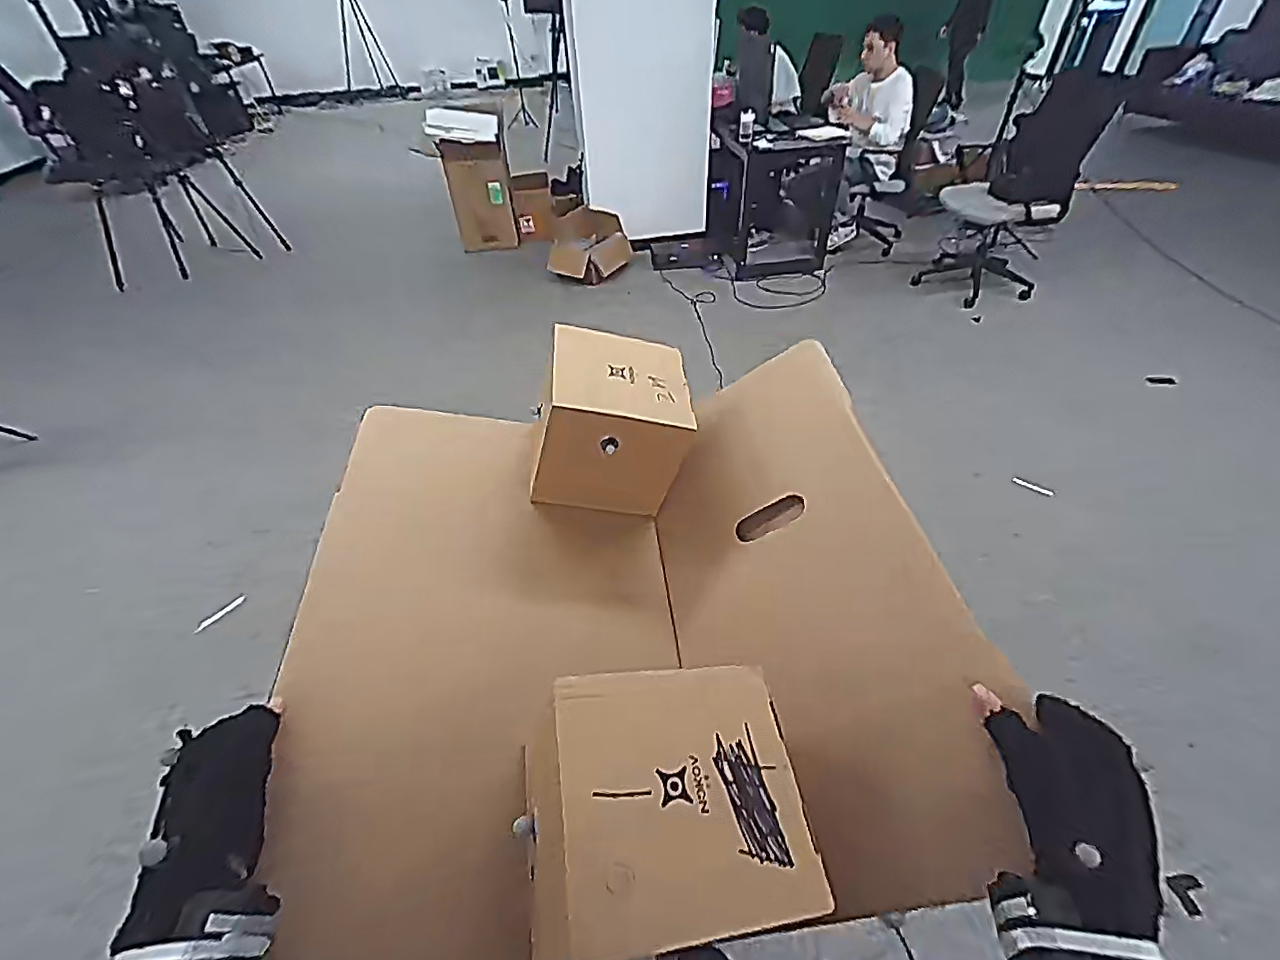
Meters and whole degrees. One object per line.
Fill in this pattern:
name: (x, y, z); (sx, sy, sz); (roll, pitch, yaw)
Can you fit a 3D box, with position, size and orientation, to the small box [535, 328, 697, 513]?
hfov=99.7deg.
small box: (-0.041, -0.074, 0.728); (0.179, 0.176, 0.168); (9, 46, -15)
